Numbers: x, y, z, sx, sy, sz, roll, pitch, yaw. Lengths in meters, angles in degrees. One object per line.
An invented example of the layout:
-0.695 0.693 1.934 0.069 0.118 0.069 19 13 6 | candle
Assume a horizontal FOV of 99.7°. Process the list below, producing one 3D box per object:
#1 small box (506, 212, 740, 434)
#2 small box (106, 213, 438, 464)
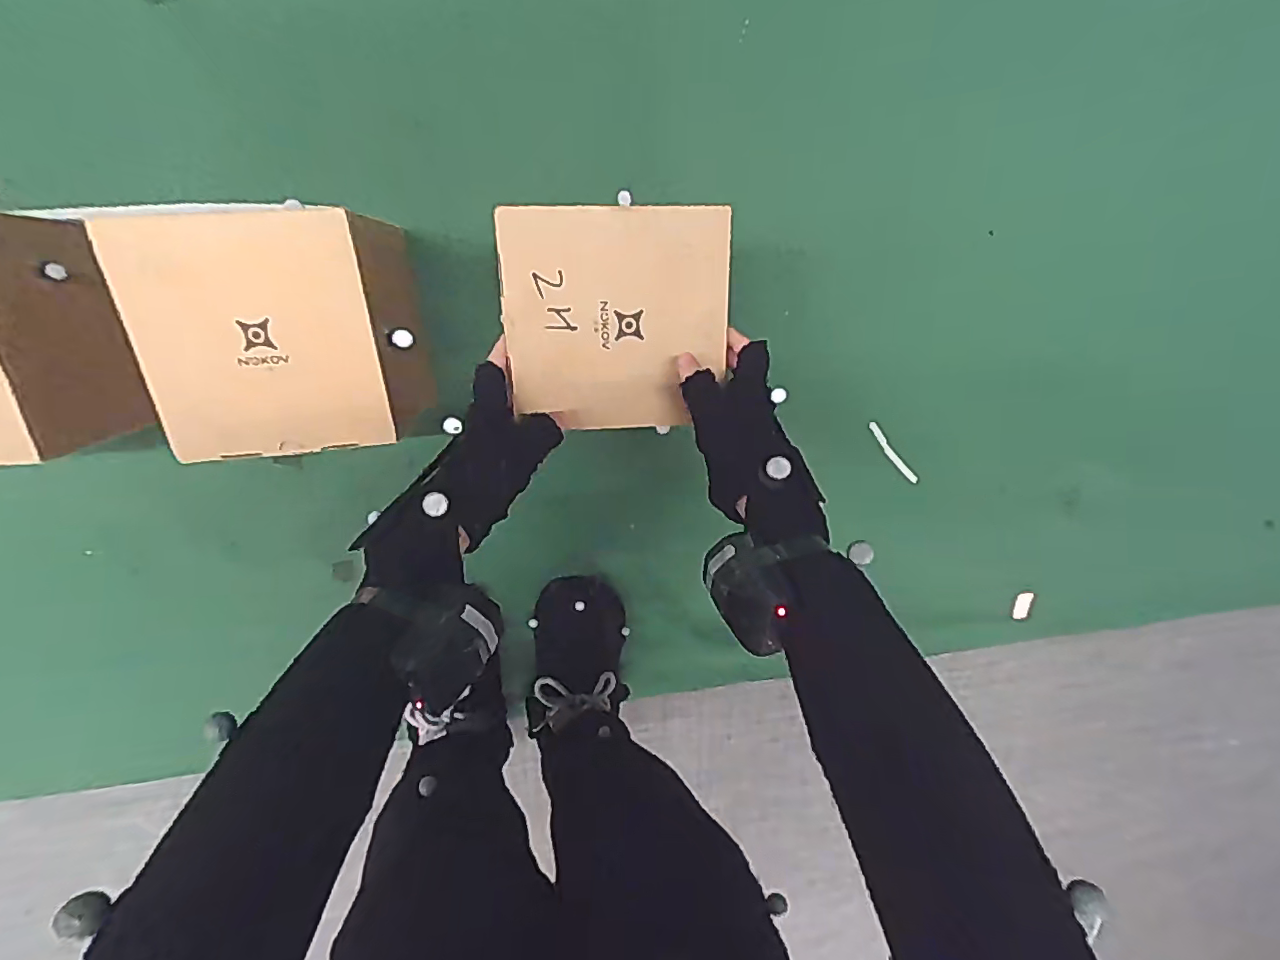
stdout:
-0.020 -0.143 0.496 0.179 0.176 0.168 -2 109 -6 | small box
-0.288 -0.128 0.476 0.168 0.176 0.179 -6 112 -8 | small box
